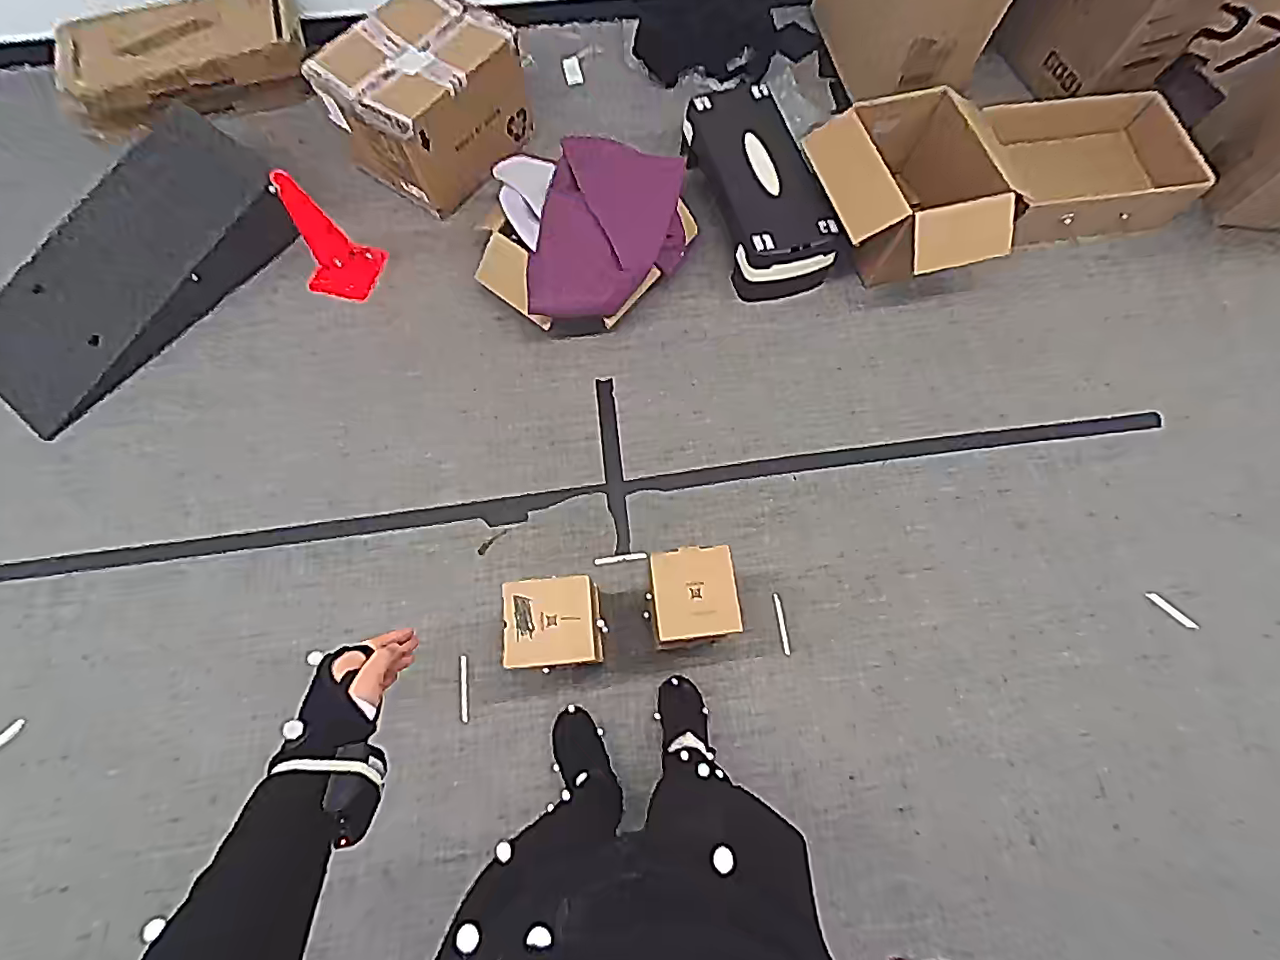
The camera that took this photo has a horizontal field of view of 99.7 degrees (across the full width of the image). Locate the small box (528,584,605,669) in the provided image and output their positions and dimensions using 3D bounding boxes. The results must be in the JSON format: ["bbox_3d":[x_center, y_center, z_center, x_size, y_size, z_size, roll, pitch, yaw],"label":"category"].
[{"bbox_3d":[-0.174,0.349,1.289,0.168,0.176,0.179,-5,72,-2],"label":"small box"}]

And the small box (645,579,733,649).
[{"bbox_3d":[0.110,0.311,1.307,0.179,0.176,0.168,-8,72,-4],"label":"small box"}]

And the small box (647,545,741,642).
[{"bbox_3d":[0.107,0.248,1.156,0.168,0.176,0.179,-6,73,-2],"label":"small box"}]

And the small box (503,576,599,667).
[{"bbox_3d":[-0.181,0.300,1.131,0.179,0.176,0.168,-4,71,-3],"label":"small box"}]
